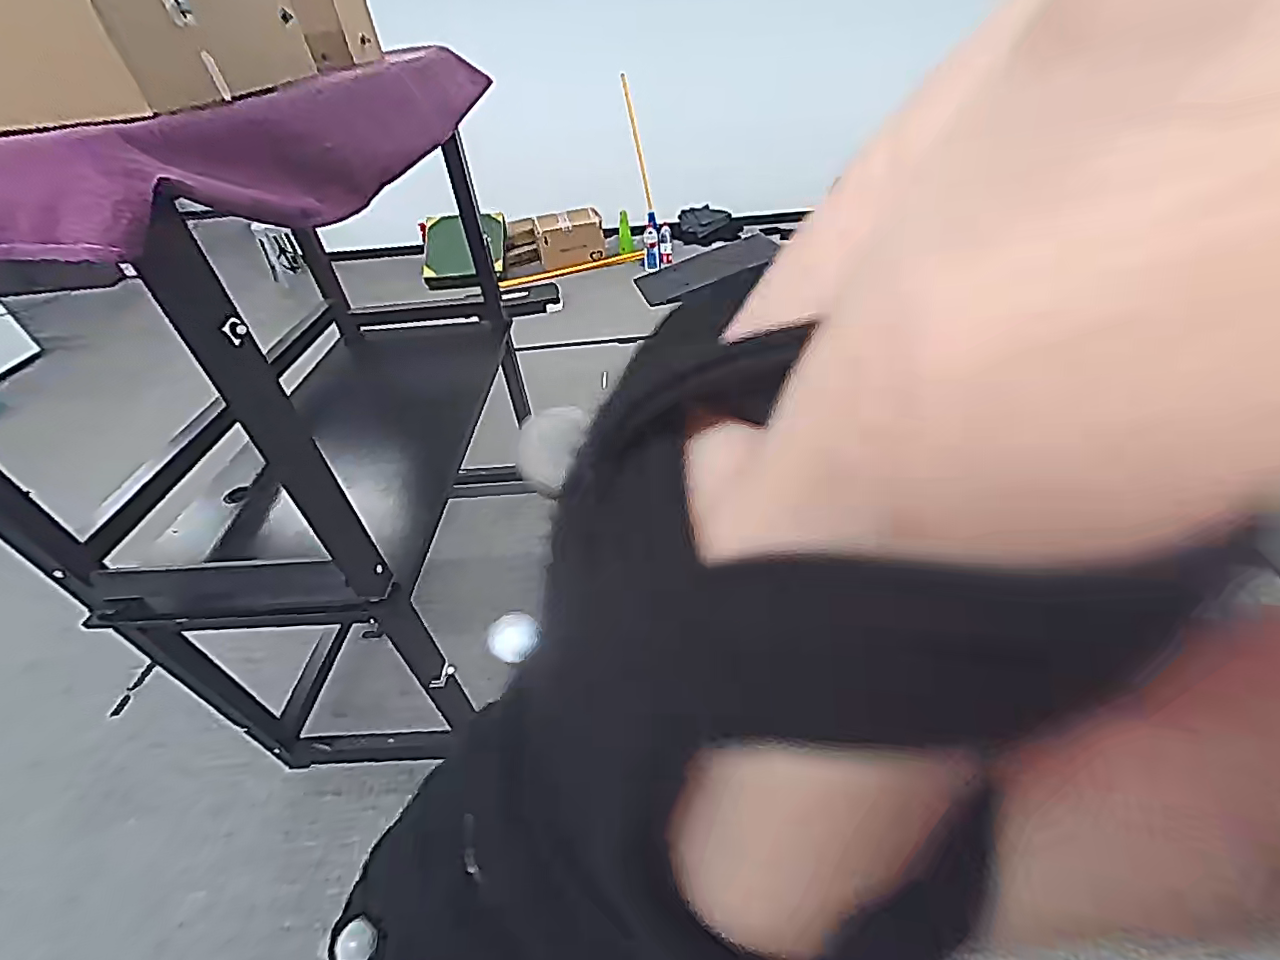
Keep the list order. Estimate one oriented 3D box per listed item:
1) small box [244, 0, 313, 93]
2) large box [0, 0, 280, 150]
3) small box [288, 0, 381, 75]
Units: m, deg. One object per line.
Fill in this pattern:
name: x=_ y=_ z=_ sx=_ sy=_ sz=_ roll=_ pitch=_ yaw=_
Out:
small box: x=-0.707 y=-0.775 z=0.935 sx=0.168 sy=0.176 sz=0.179 roll=-4 pitch=42 yaw=4
large box: x=-0.742 y=-0.583 z=0.618 sx=0.408 sy=0.320 sz=0.320 roll=-6 pitch=40 yaw=2
small box: x=-0.706 y=-1.012 z=1.200 sx=0.168 sy=0.176 sz=0.179 roll=-3 pitch=41 yaw=5
